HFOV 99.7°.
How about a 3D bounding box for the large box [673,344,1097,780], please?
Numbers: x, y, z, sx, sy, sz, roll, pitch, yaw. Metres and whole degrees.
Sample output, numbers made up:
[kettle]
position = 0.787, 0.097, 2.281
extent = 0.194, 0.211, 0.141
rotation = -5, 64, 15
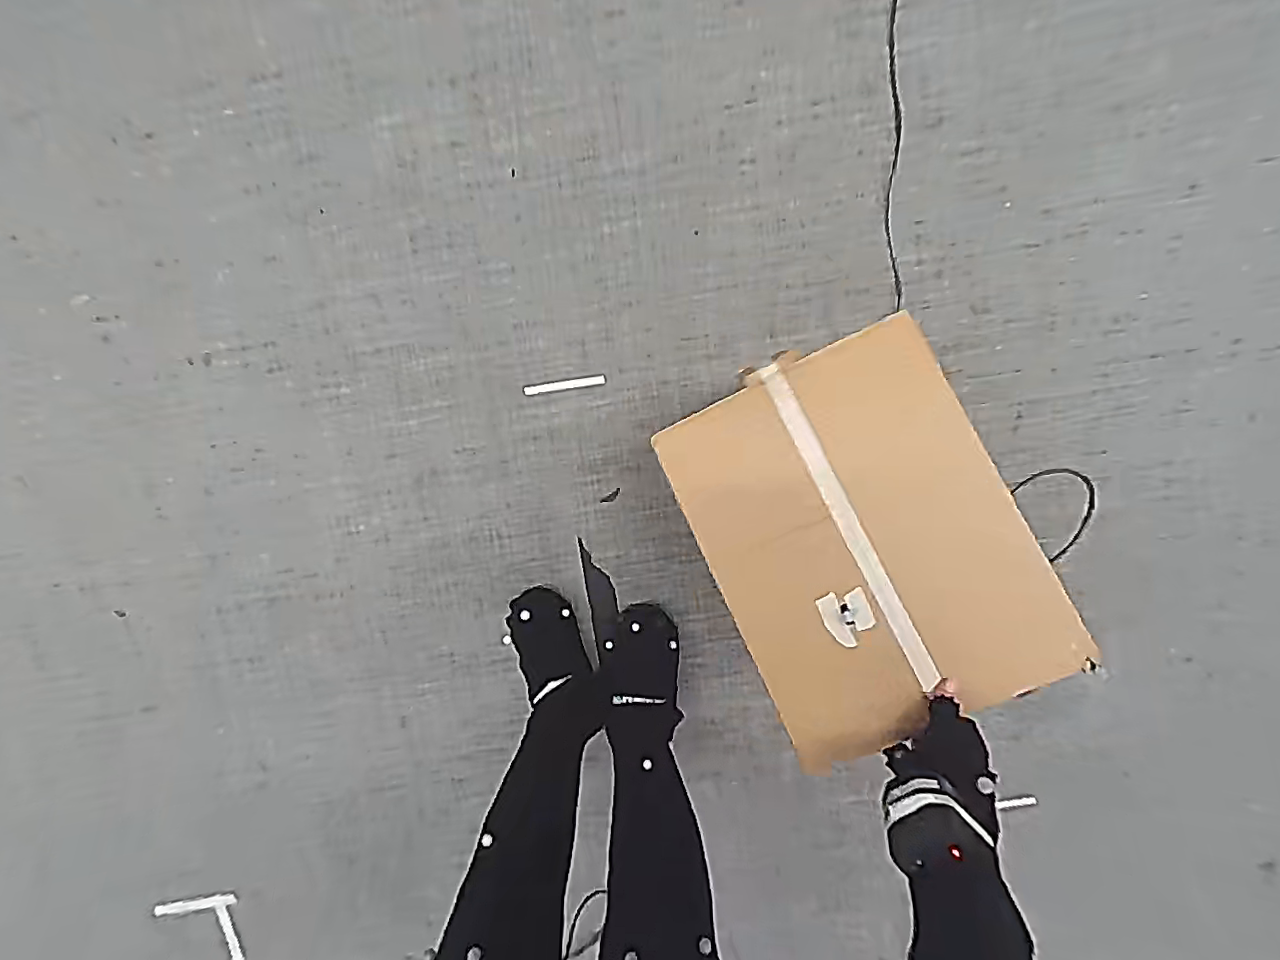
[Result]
[large box]
position = 0.273, 0.095, 0.739
extent = 0.320, 0.320, 0.408
rotation = -25, 84, 7
